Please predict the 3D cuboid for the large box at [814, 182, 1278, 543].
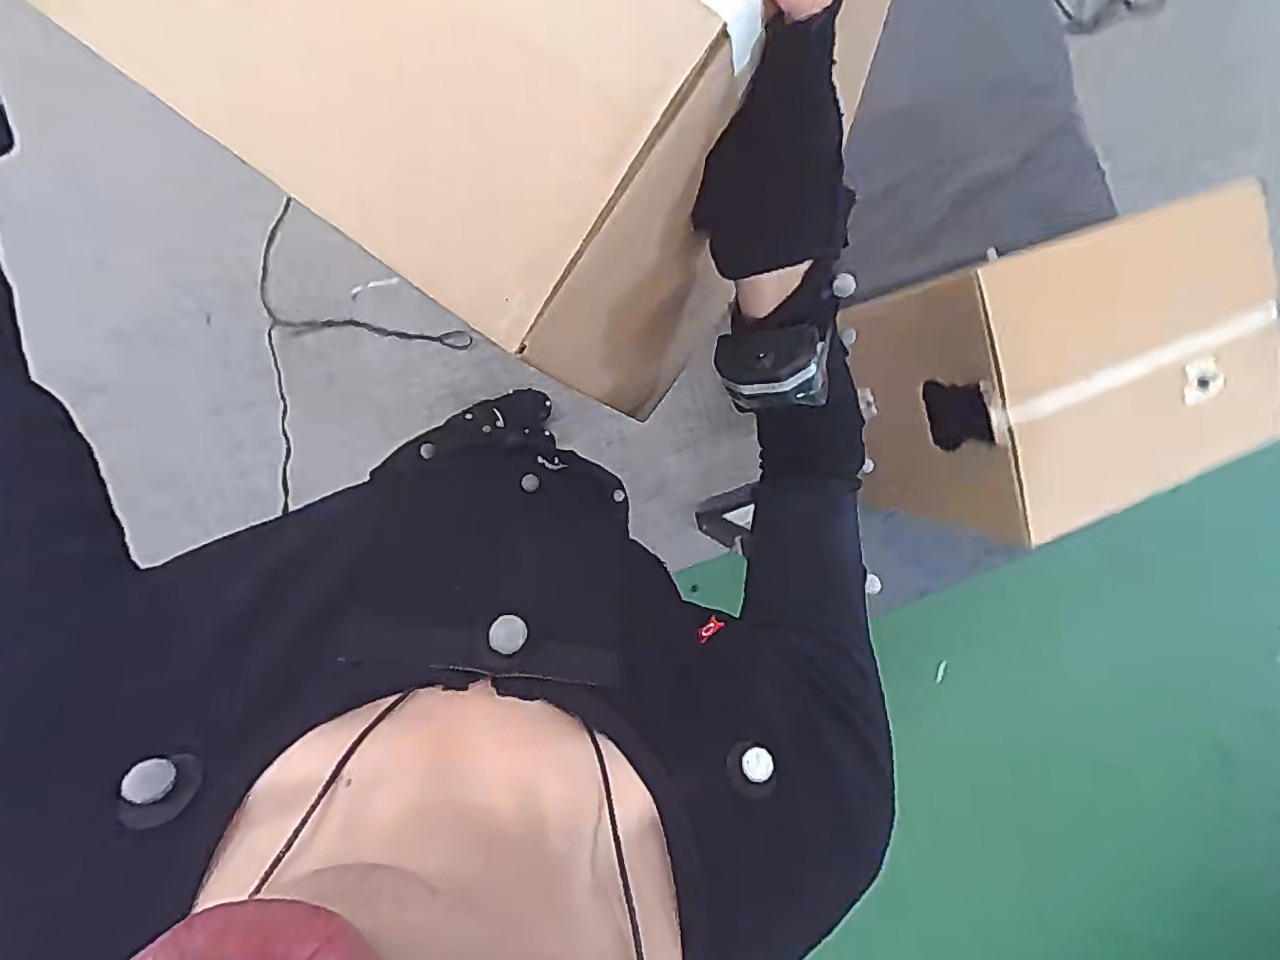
[{"bbox_3d":[0.526,-0.147,0.751,0.408,0.320,0.320,-20,99,-12],"label":"large box"}]
